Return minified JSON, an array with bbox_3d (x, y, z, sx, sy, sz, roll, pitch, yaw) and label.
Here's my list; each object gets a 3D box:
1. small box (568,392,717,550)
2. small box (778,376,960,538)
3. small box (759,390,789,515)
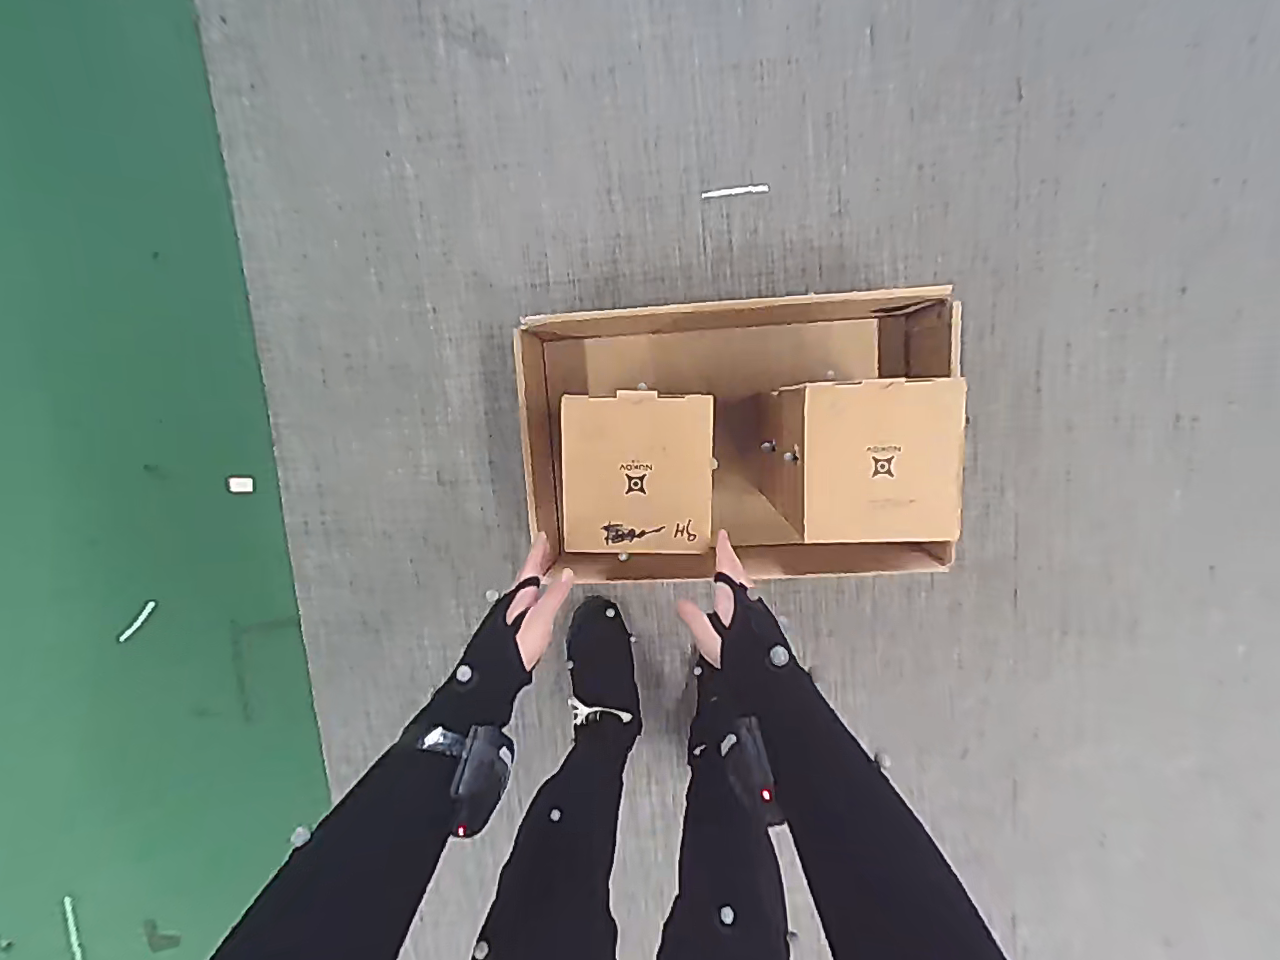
[{"bbox_3d":[0.004,-0.018,0.680,0.168,0.176,0.179,1,97,3],"label":"small box"},{"bbox_3d":[0.266,-0.032,0.668,0.168,0.176,0.179,-1,98,5],"label":"small box"},{"bbox_3d":[0.278,-0.052,0.829,0.168,0.176,0.179,-4,98,4],"label":"small box"}]
